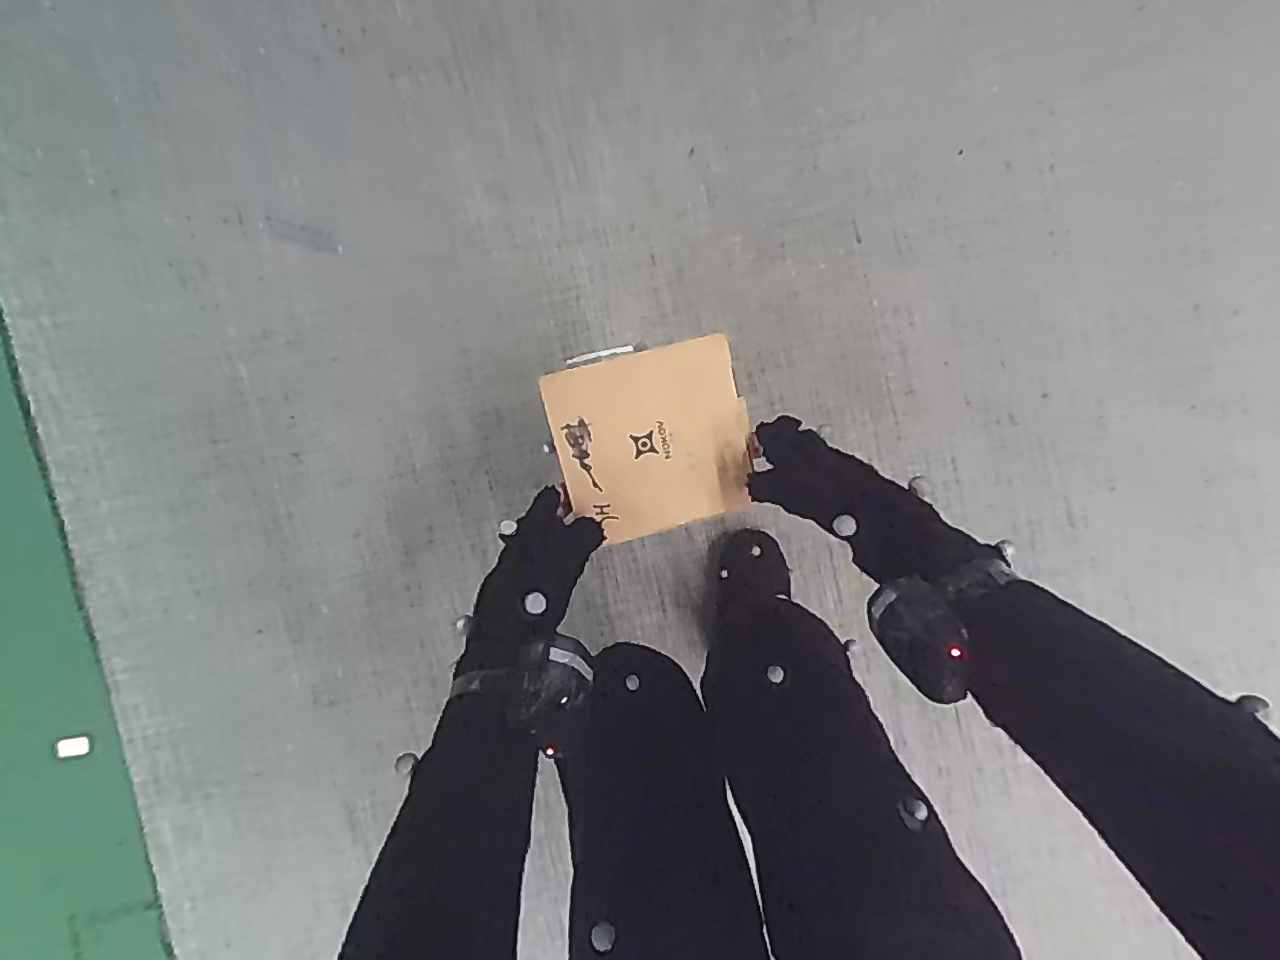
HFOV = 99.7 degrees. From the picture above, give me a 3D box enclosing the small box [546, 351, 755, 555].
[{"bbox_3d":[0.003,-0.036,0.586,0.179,0.176,0.168,-14,99,-5],"label":"small box"}]
